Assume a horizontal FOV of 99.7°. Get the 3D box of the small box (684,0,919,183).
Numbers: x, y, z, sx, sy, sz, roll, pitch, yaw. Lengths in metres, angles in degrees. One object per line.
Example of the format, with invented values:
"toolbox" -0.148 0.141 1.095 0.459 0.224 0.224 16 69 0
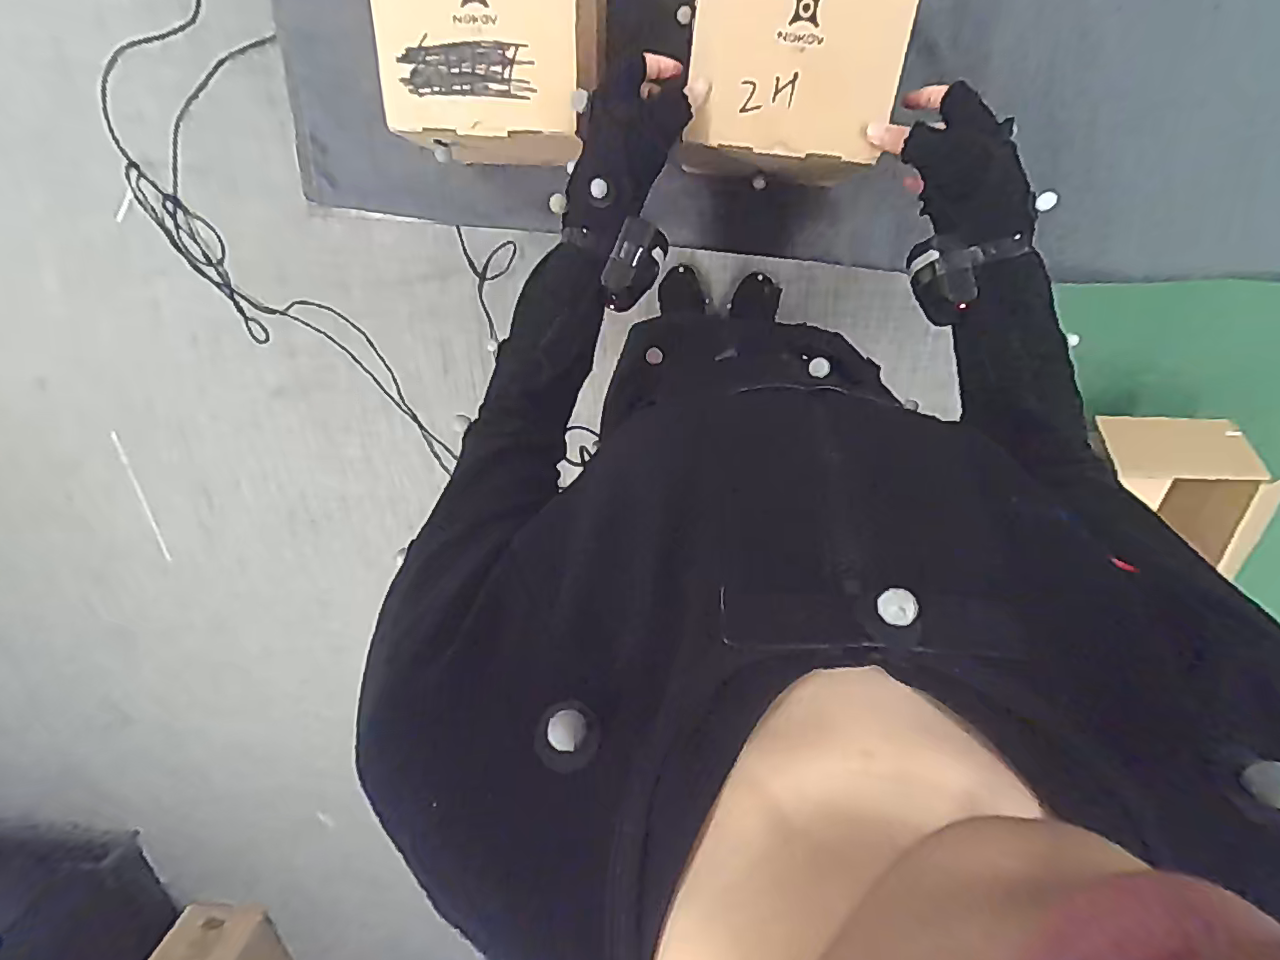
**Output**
"small box" 0.131 -0.381 0.485 0.168 0.176 0.179 7 114 2
